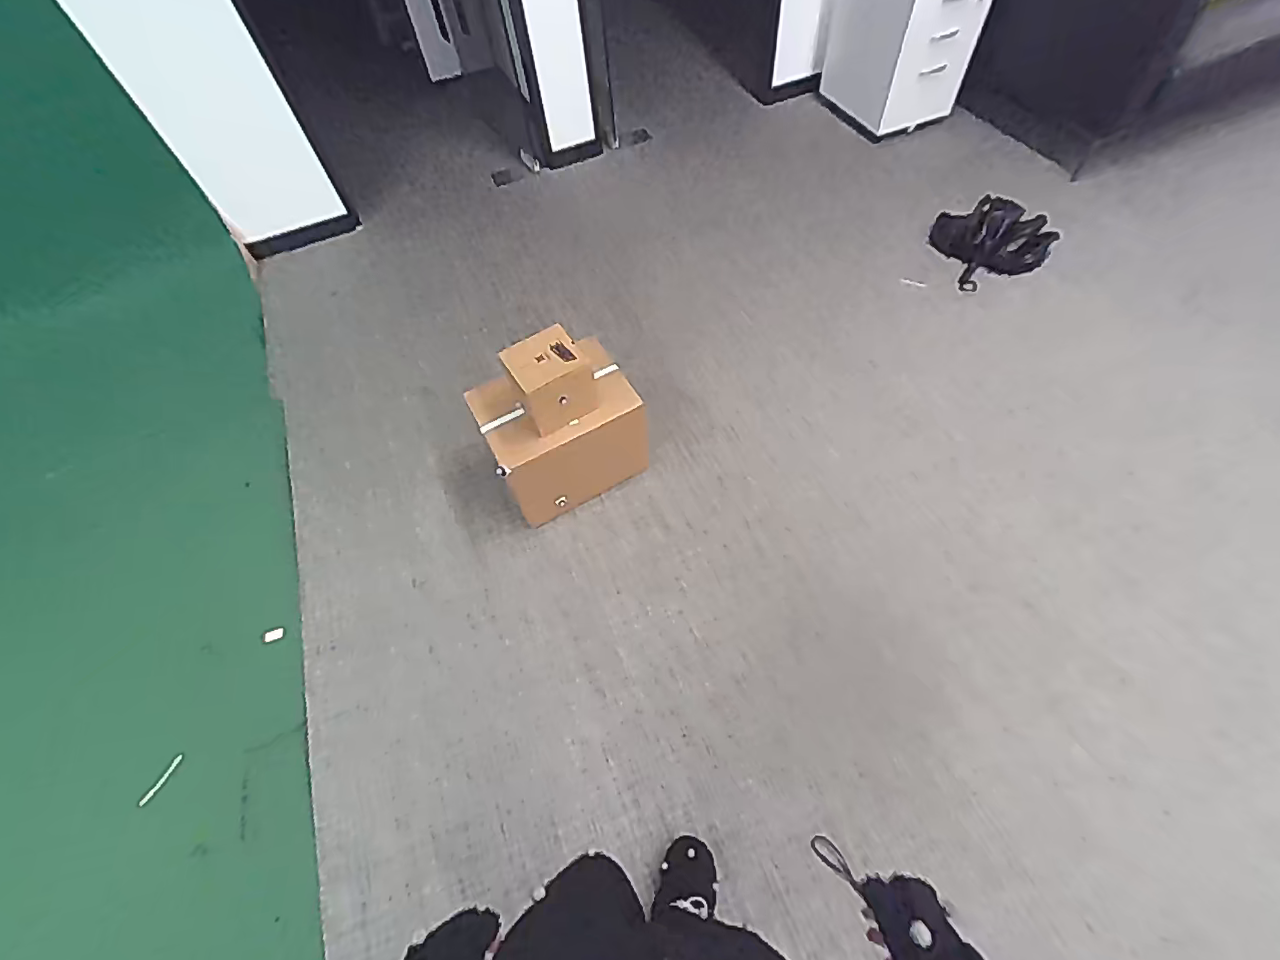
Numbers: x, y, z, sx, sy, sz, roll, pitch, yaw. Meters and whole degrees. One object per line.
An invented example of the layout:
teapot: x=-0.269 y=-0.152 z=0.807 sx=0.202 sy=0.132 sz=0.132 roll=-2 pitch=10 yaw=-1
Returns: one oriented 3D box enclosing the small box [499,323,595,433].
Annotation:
small box: x=-0.225 y=-0.254 z=1.357 sx=0.179 sy=0.176 sz=0.168 roll=-32 pitch=62 yaw=-16
